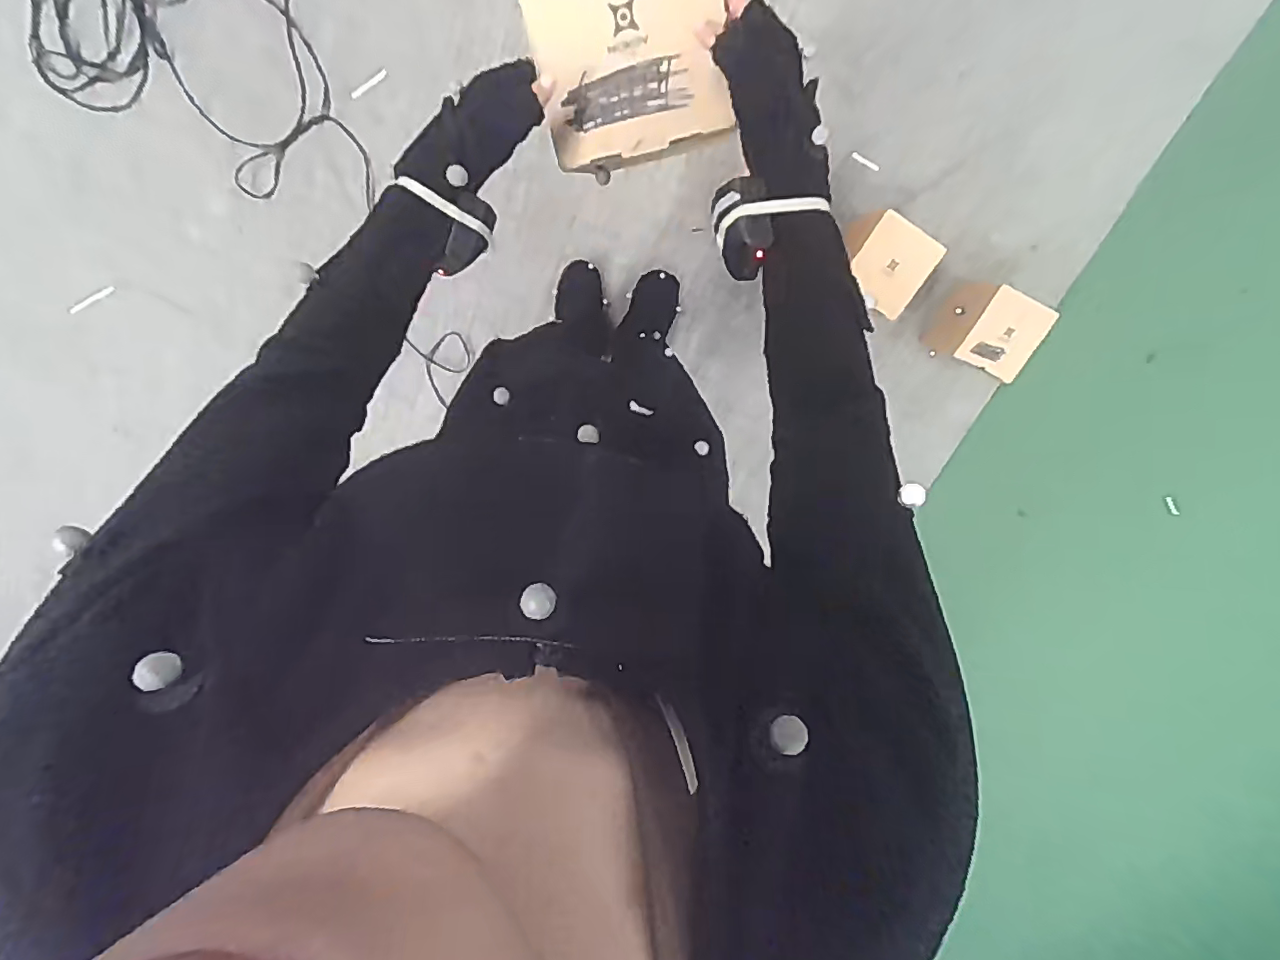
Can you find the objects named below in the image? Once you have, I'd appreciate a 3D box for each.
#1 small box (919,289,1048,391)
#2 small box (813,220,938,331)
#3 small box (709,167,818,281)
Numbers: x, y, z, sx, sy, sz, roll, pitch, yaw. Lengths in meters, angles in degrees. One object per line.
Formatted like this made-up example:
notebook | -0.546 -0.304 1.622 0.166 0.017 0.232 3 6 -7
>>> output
small box | 0.813 -0.343 1.307 0.168 0.176 0.179 22 111 -11
small box | 0.528 -0.472 1.244 0.168 0.176 0.179 27 111 -12
small box | 0.261 -0.563 1.198 0.168 0.176 0.179 19 114 -7
